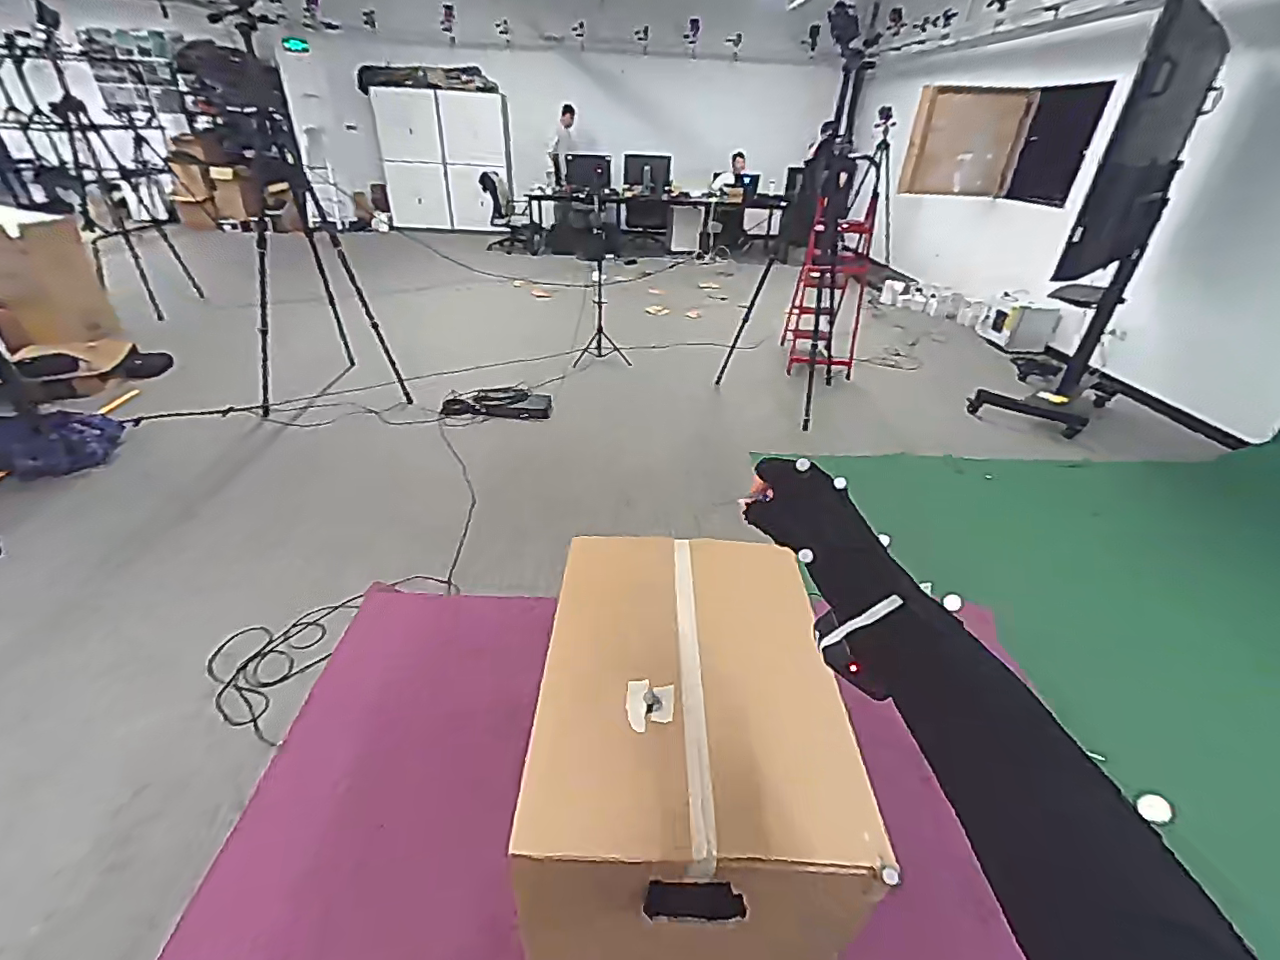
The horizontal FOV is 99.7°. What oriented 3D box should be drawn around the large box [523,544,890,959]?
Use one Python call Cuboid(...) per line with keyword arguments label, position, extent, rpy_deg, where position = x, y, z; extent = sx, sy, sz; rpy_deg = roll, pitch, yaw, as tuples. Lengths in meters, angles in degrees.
Cuboid(label="large box", position=(0.048, 0.332, 0.687), extent=(0.320, 0.320, 0.408), rpy_deg=(3, 33, 0))
